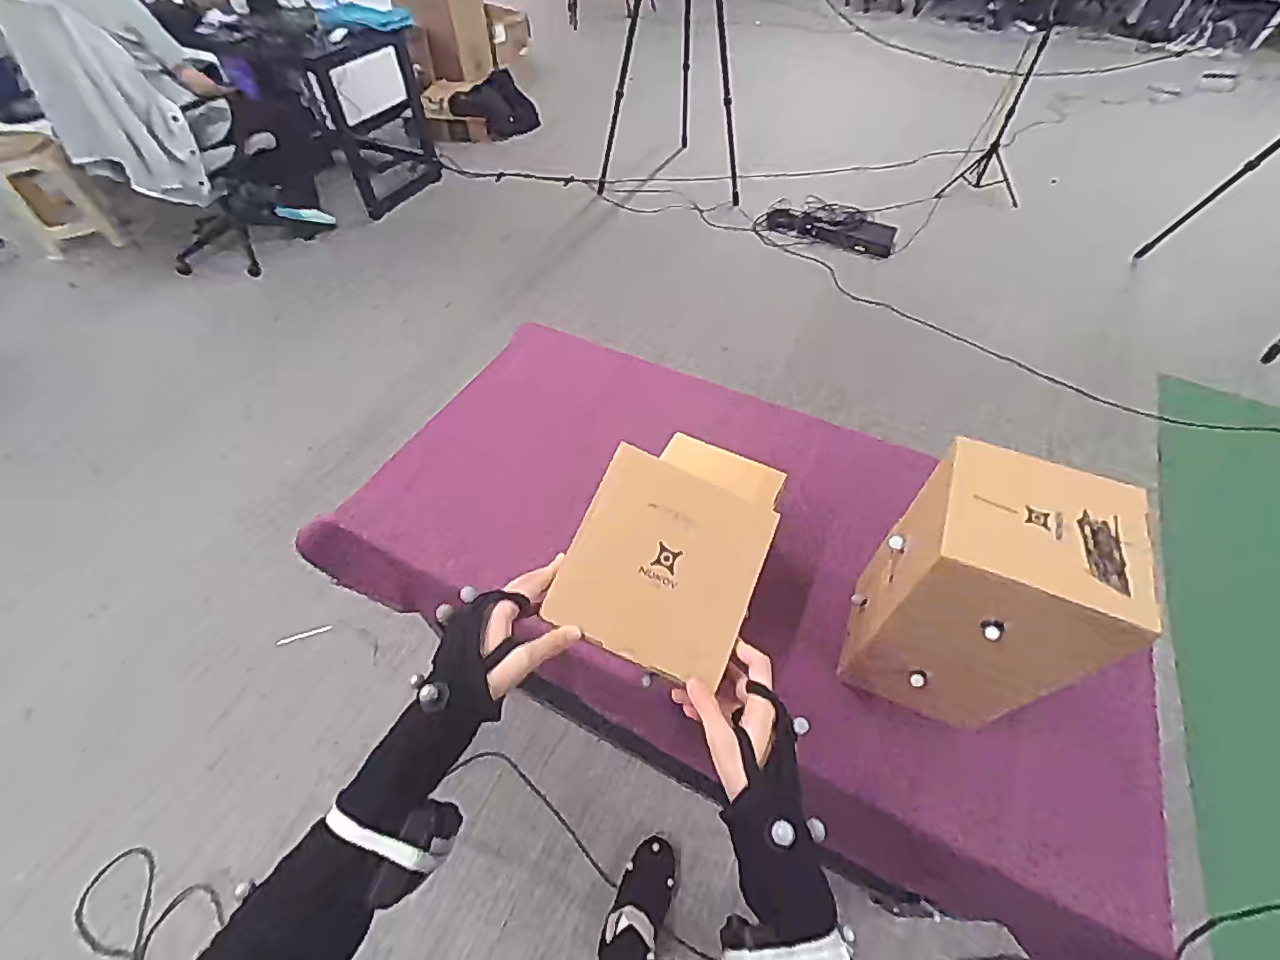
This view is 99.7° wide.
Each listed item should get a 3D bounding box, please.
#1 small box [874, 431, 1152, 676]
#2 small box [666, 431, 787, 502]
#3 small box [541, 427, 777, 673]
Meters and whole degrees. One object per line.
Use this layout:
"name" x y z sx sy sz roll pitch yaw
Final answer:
"small box" 0.376 0.083 0.571 0.179 0.176 0.168 21 55 16
"small box" 0.091 0.062 0.802 0.179 0.176 0.168 24 55 16
"small box" 0.014 0.080 0.561 0.168 0.176 0.179 25 71 1
